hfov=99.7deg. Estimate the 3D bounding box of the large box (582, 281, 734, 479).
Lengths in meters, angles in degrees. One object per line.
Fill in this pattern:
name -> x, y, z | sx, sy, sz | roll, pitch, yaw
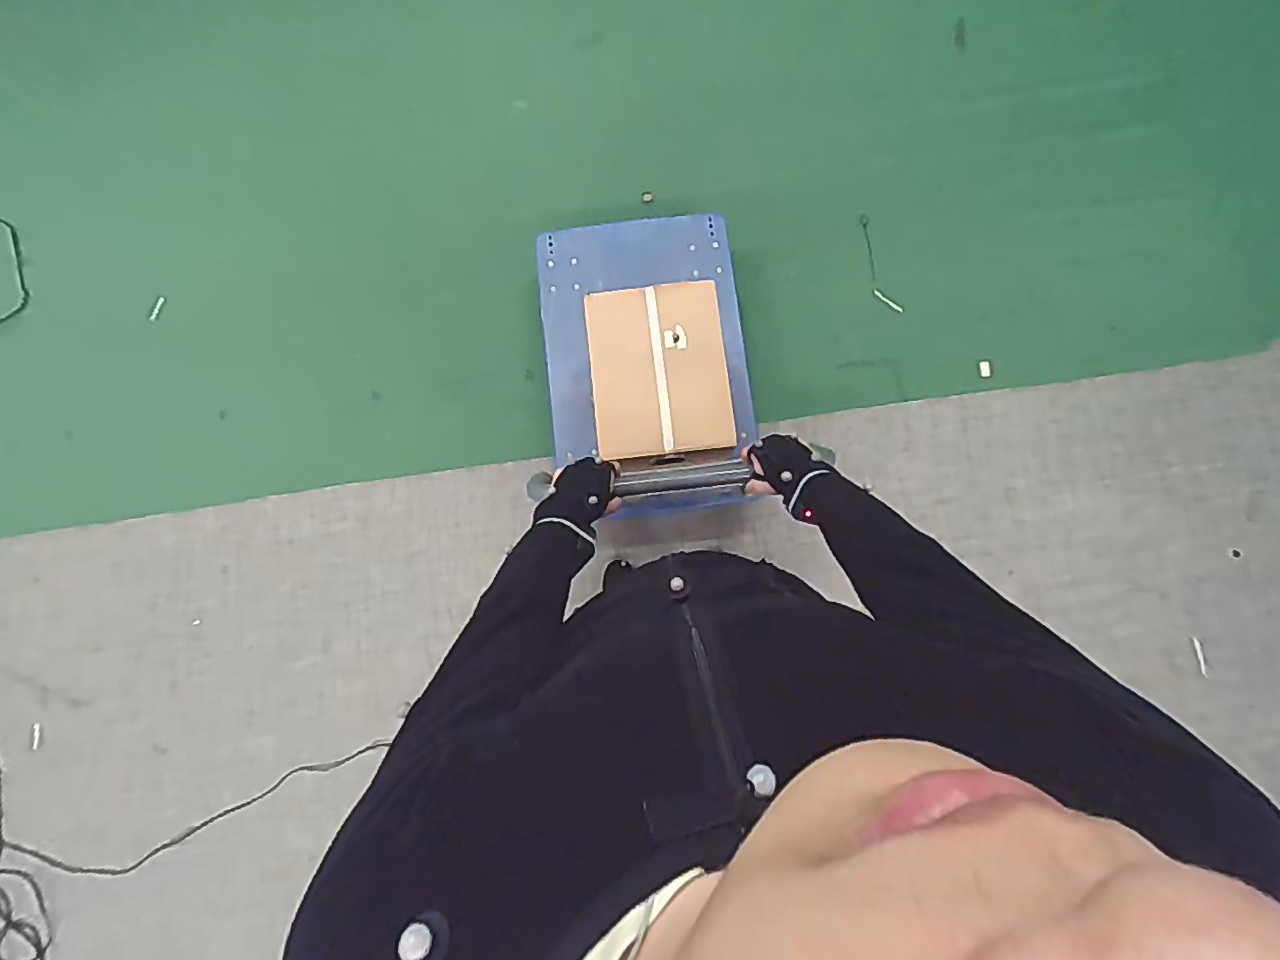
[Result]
large box -> 0.042, -0.235, 1.393 | 0.320, 0.320, 0.408 | -6, 81, 0
